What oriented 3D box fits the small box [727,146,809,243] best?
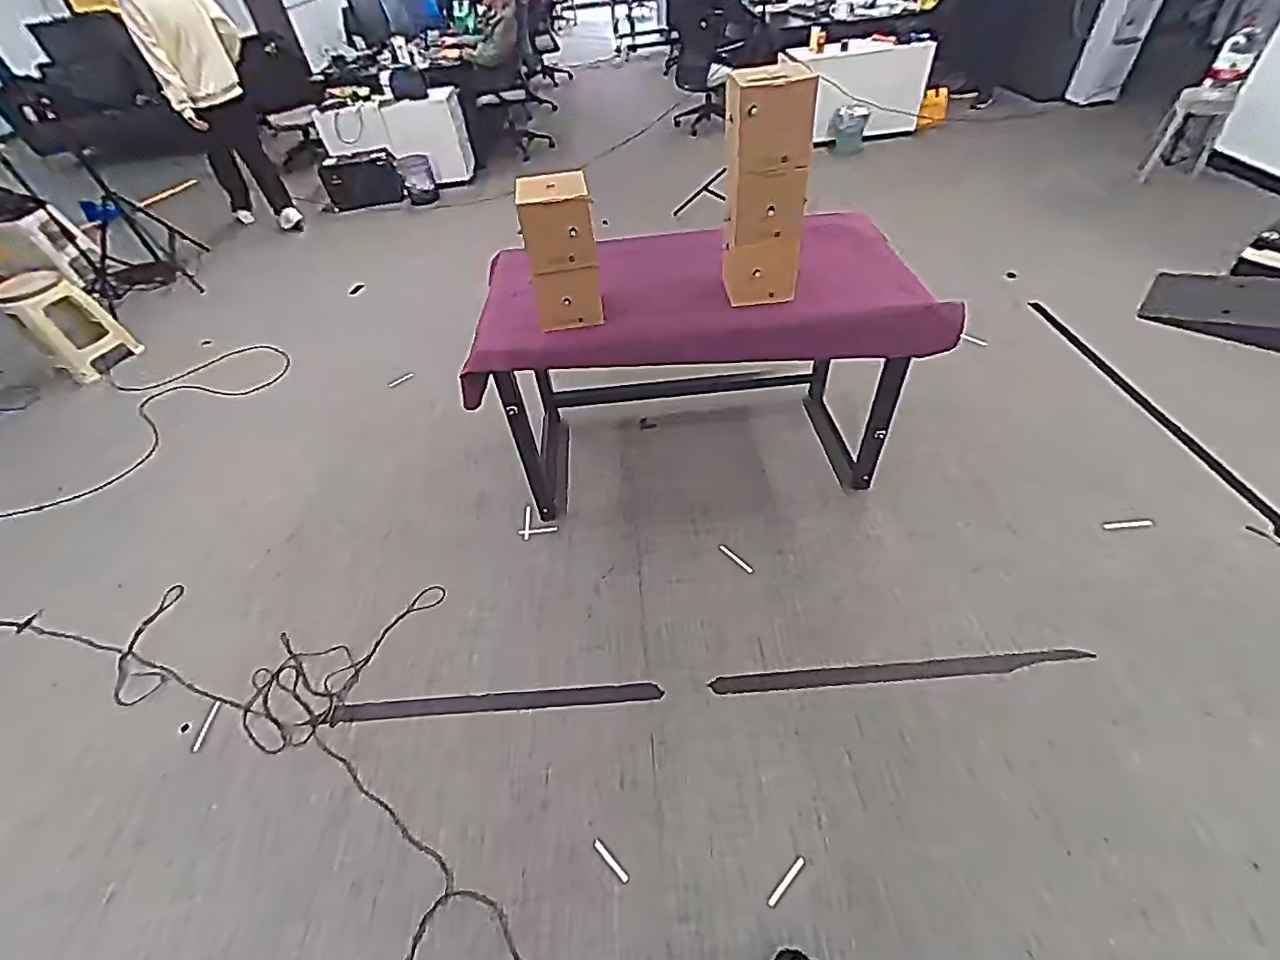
[{"bbox_3d":[0.312,-0.705,1.348,0.168,0.176,0.179,-5,47,2],"label":"small box"}]

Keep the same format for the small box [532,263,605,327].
[{"bbox_3d":[-0.190,-0.524,1.454,0.168,0.176,0.179,-8,46,-2],"label":"small box"}]

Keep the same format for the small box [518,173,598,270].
[{"bbox_3d":[-0.200,-0.630,1.331,0.168,0.176,0.179,-9,46,-4],"label":"small box"}]

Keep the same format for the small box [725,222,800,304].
[{"bbox_3d":[0.325,-0.590,1.464,0.168,0.176,0.179,-6,46,2],"label":"small box"}]
